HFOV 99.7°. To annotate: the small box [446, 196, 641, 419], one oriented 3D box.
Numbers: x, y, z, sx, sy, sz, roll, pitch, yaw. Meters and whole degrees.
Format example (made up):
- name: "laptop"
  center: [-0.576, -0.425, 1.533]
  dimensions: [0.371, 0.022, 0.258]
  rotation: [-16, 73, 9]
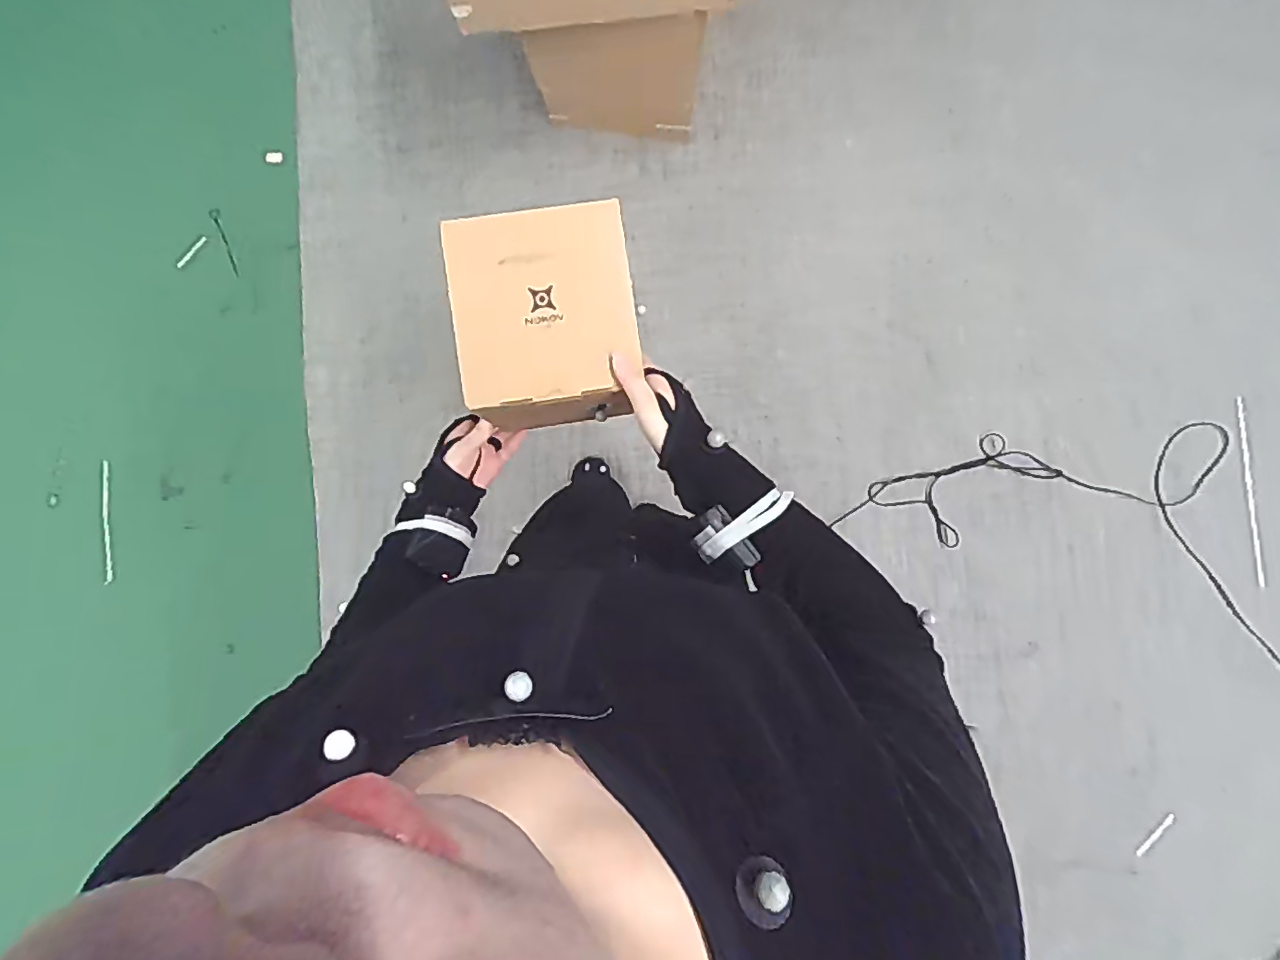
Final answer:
- name: "small box"
  center: [-0.088, -0.164, 0.573]
  dimensions: [0.168, 0.176, 0.179]
  rotation: [-7, 88, -1]
